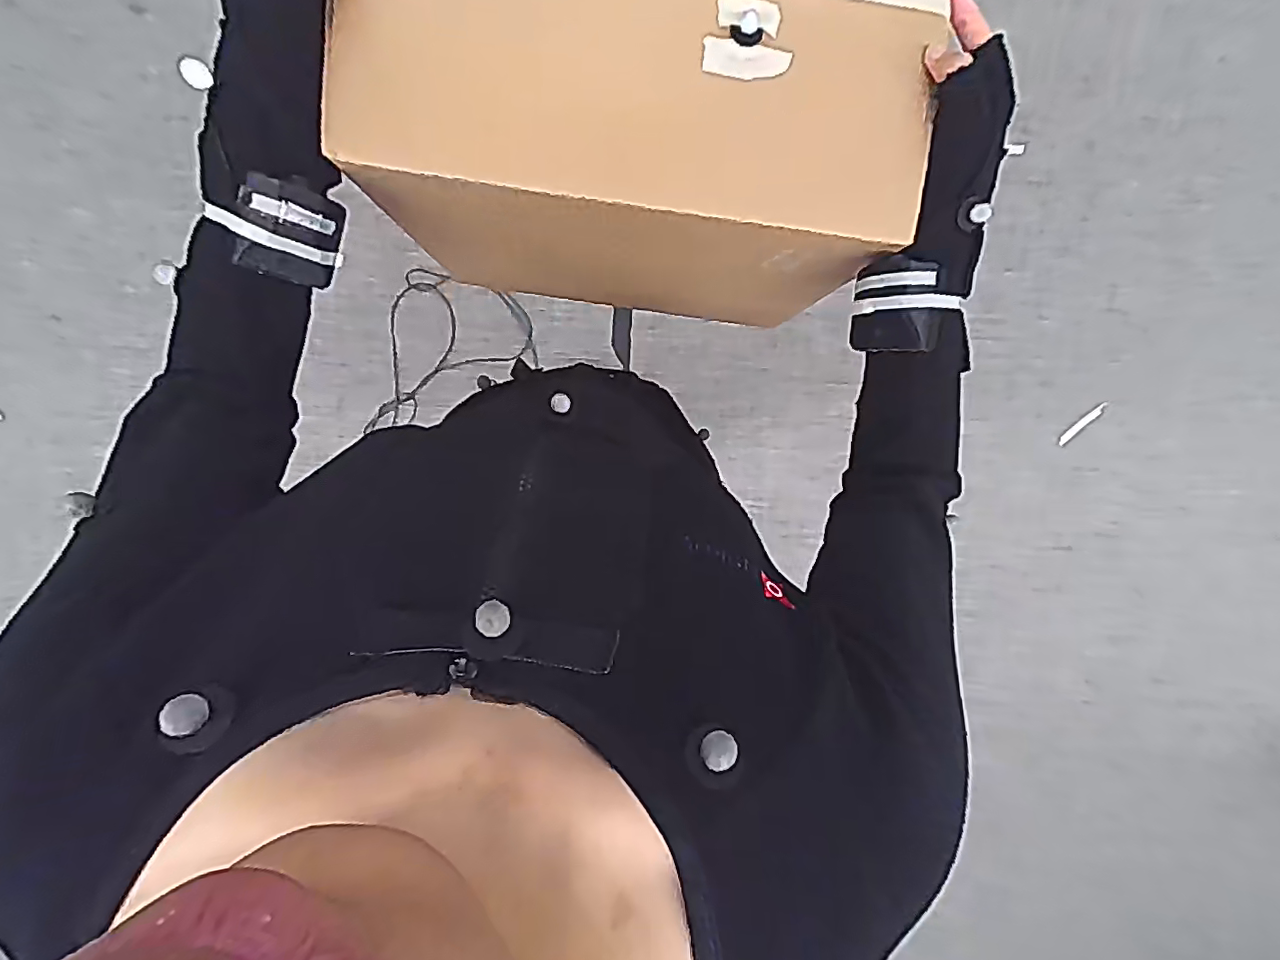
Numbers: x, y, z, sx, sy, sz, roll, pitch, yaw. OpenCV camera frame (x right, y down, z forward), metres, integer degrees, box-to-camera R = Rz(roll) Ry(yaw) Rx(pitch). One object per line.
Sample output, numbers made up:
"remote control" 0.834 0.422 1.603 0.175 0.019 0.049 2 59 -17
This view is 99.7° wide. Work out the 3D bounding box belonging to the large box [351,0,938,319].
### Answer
"large box" 0.003 -0.362 0.518 0.408 0.320 0.320 7 95 -4
